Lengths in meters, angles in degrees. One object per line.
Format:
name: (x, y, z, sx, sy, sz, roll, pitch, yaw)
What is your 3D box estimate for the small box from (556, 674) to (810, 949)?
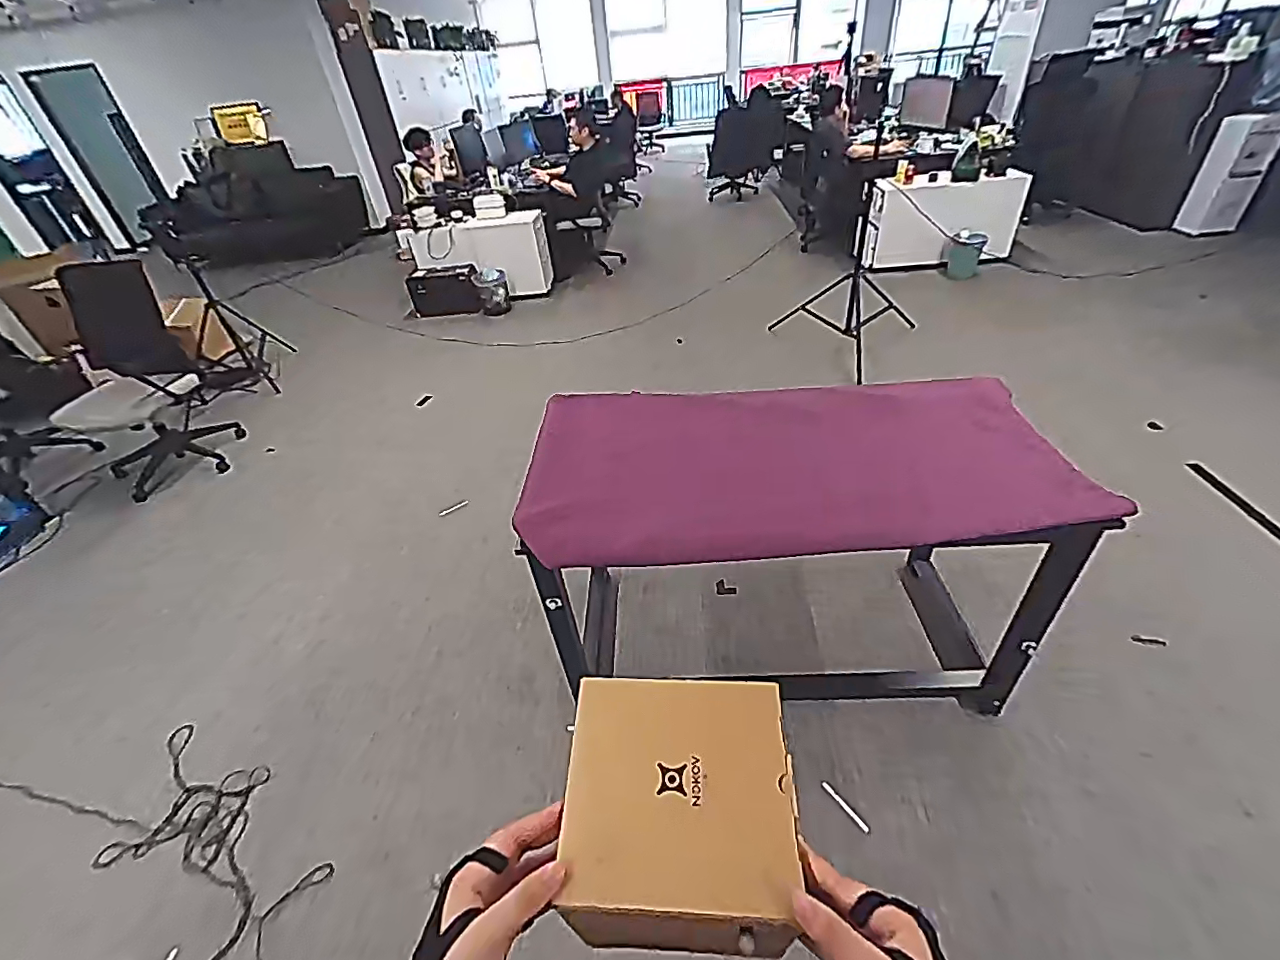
small box: (0.038, 0.290, 0.475, 0.179, 0.176, 0.168, 0, 42, 4)
